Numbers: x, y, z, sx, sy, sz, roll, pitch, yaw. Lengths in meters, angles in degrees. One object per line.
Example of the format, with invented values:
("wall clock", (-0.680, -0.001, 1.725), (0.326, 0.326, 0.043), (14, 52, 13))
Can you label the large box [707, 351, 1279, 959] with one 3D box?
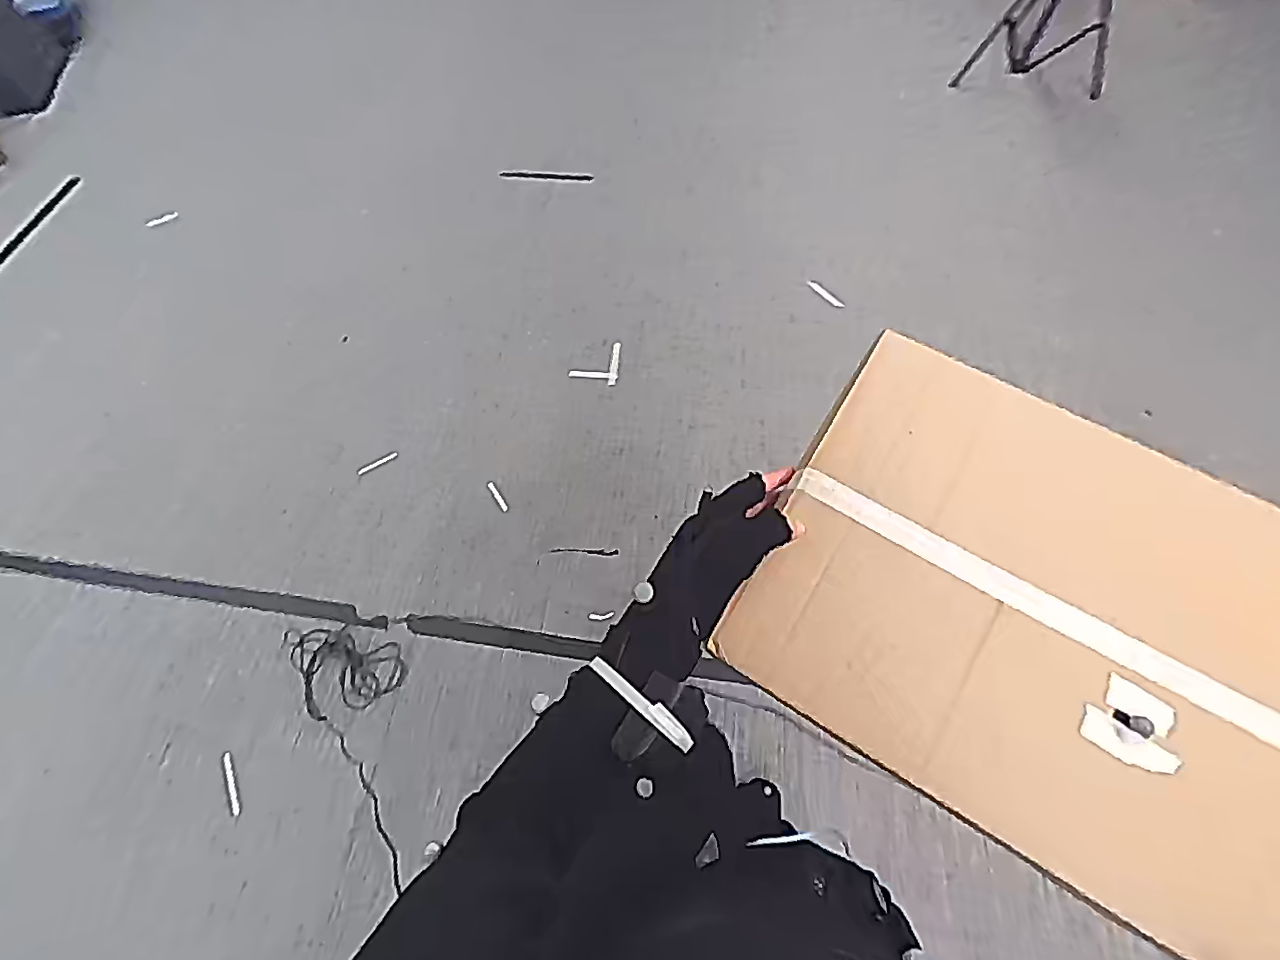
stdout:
("large box", (0.317, 0.143, 0.547), (0.408, 0.320, 0.320), (30, 79, 13))
